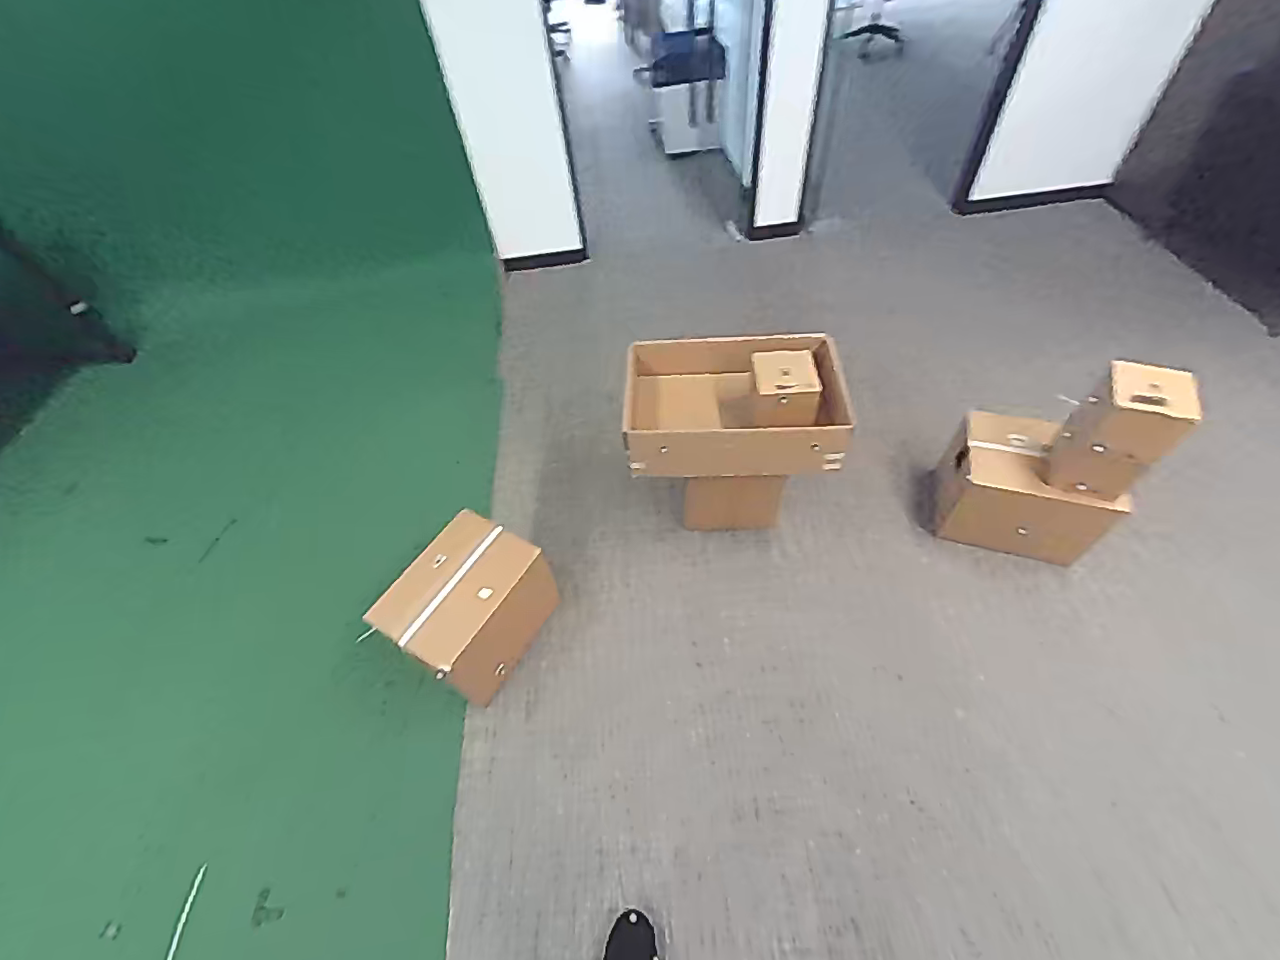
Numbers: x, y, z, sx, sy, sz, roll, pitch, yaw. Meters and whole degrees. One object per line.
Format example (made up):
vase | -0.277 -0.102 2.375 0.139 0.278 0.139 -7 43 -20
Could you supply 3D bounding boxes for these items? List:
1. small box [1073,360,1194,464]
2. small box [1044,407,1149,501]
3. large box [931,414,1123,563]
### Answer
small box | 1.229 -0.168 1.360 0.168 0.176 0.179 17 56 19
small box | 1.248 -0.073 1.492 0.168 0.176 0.179 17 57 19
large box | 1.196 0.029 1.729 0.408 0.320 0.320 11 53 15
